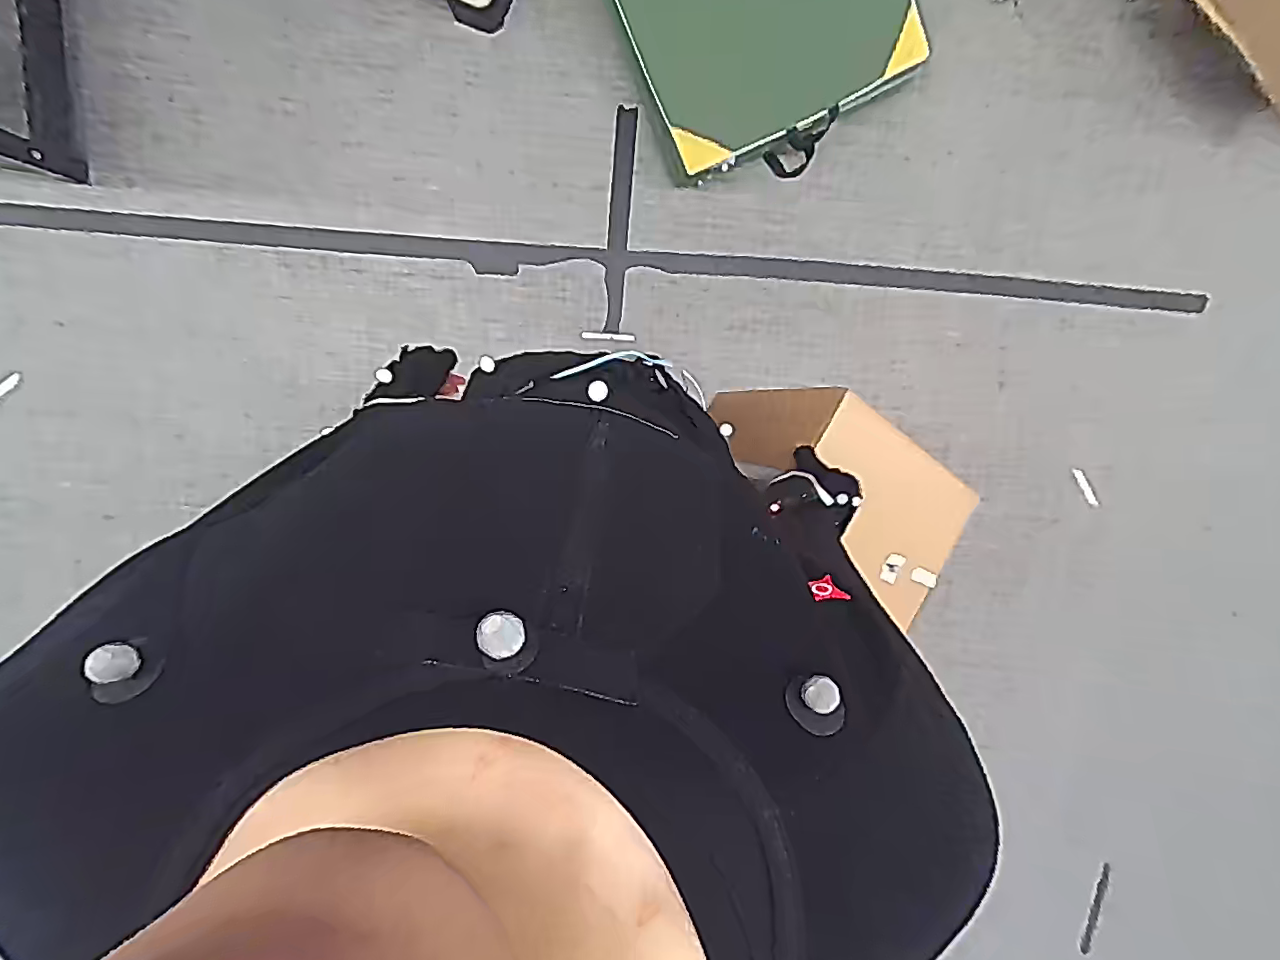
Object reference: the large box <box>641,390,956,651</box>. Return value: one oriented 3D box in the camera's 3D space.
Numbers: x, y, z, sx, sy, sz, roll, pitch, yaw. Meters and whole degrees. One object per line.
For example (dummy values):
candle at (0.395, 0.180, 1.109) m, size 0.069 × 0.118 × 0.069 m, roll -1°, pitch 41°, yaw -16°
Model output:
large box at (0.261, 0.054, 0.992) m, size 0.320 × 0.408 × 0.320 m, roll 31°, pitch 86°, yaw -20°
